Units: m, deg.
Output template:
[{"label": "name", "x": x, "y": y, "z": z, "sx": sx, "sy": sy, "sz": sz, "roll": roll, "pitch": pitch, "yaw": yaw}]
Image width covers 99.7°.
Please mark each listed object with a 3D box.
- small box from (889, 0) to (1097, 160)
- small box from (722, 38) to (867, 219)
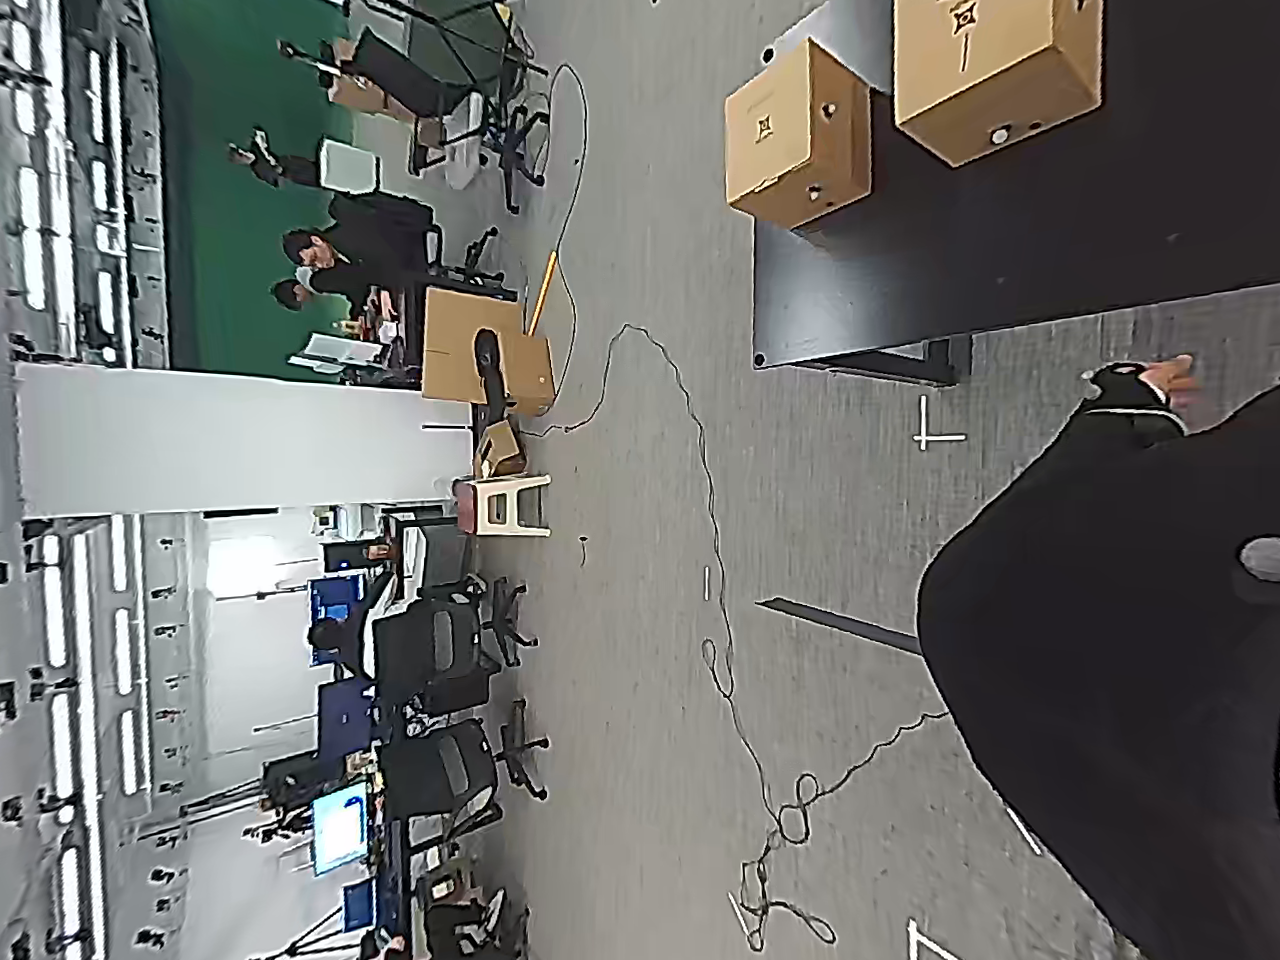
[{"label": "small box", "x": 0.424, "y": -0.530, "z": 0.653, "sx": 0.168, "sy": 0.176, "sz": 0.179, "roll": 2, "pitch": 94, "yaw": 53}, {"label": "small box", "x": 0.253, "y": -0.549, "z": 0.883, "sx": 0.168, "sy": 0.176, "sz": 0.179, "roll": 0, "pitch": 91, "yaw": 52}]
